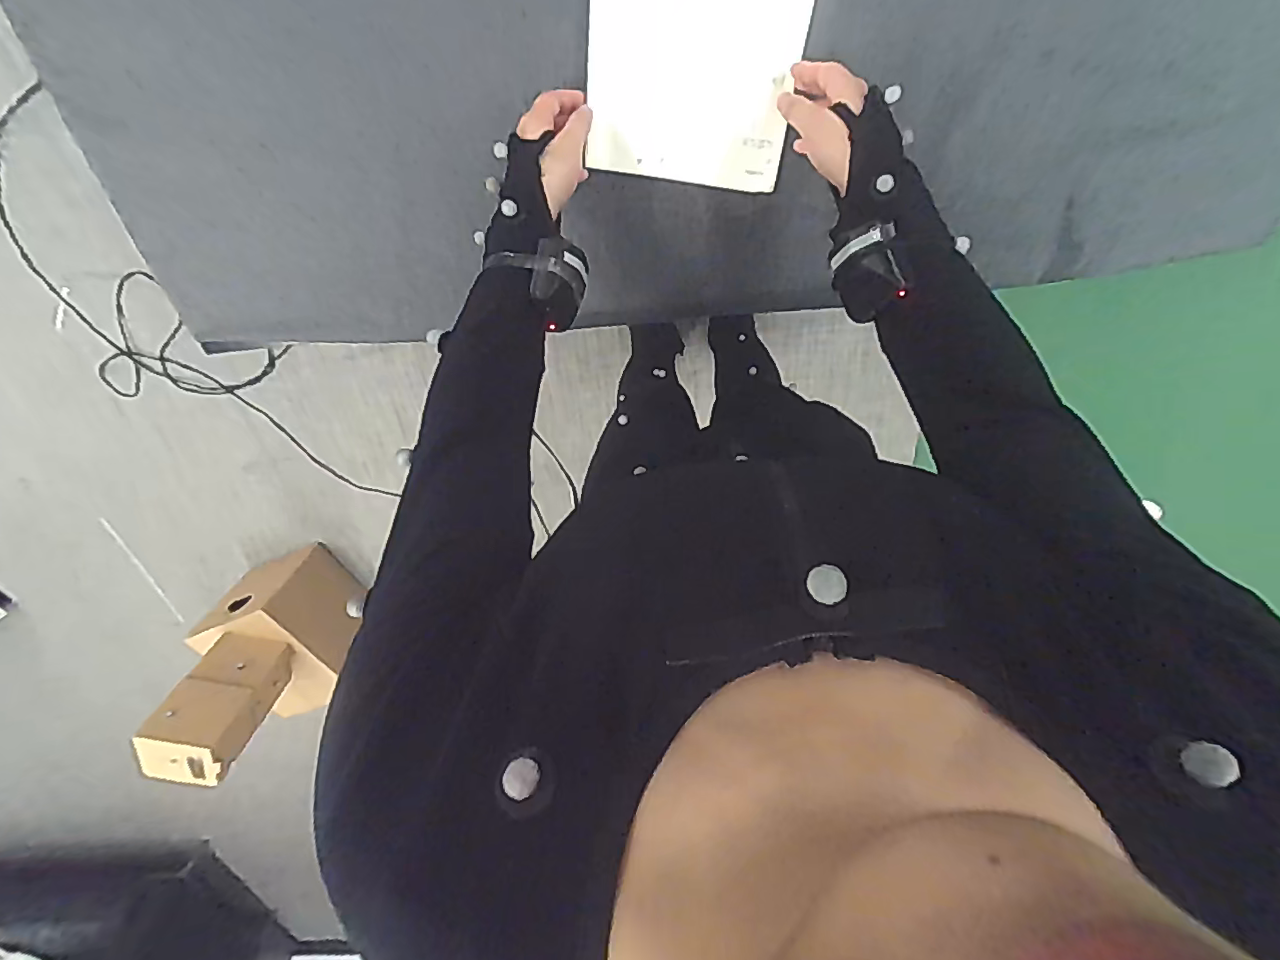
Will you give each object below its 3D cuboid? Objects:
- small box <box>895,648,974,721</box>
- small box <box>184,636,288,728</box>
[{"bbox_3d":[0.988,0.701,1.825,0.168,0.176,0.179,10,122,-3],"label":"small box"},{"bbox_3d":[-1.114,0.559,1.510,0.179,0.176,0.168,13,120,-9],"label":"small box"}]
